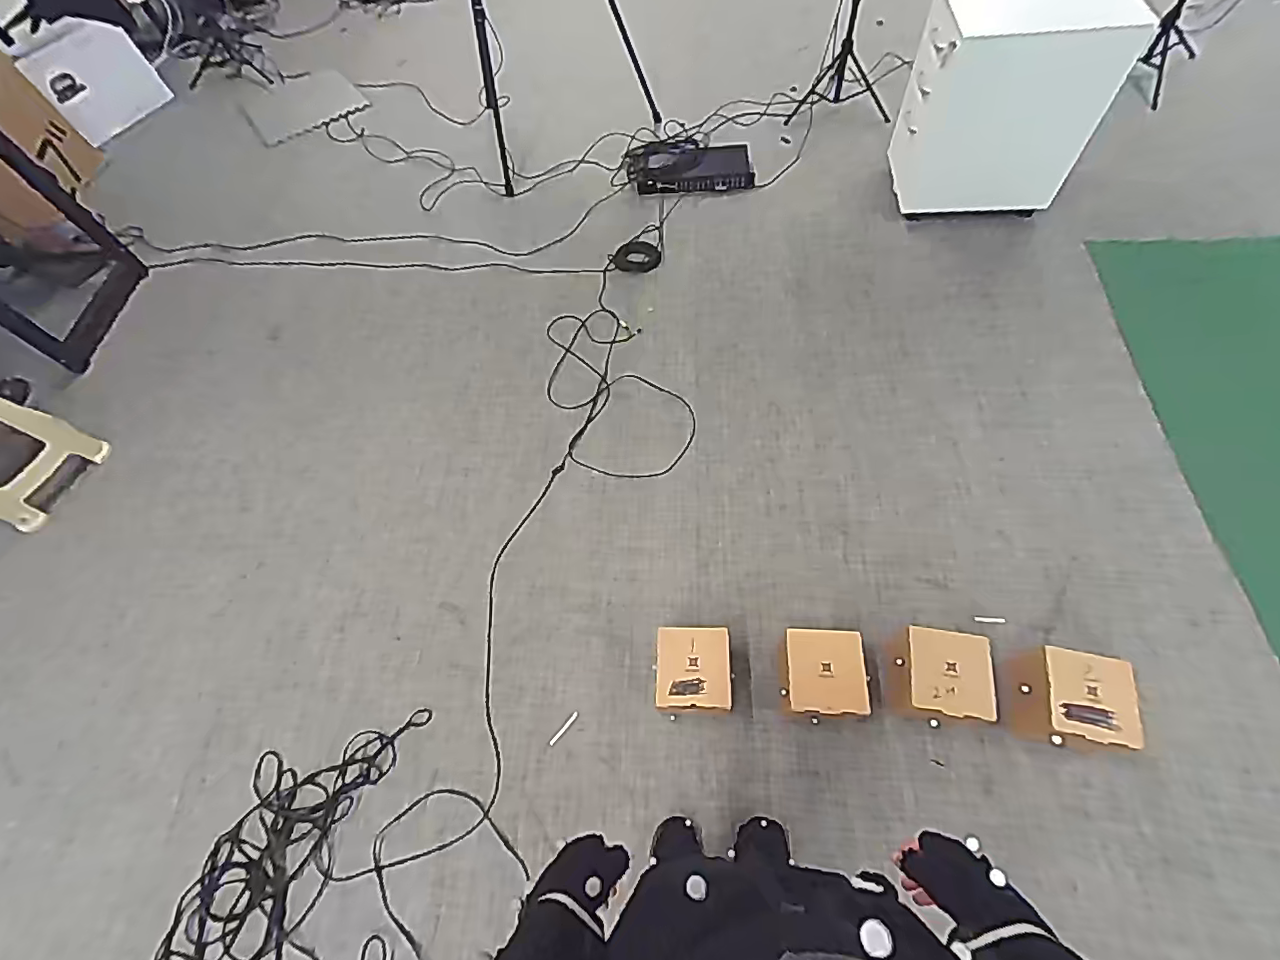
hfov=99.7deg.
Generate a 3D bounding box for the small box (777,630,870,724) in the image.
[{"bbox_3d":[0.413,0.458,1.249,0.168,0.176,0.179,0,61,7],"label":"small box"}]

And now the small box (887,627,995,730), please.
[{"bbox_3d":[0.669,0.451,1.223,0.168,0.176,0.179,7,63,11],"label":"small box"}]

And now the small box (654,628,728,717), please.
[{"bbox_3d":[0.124,0.459,1.279,0.168,0.176,0.179,0,60,6],"label":"small box"}]
